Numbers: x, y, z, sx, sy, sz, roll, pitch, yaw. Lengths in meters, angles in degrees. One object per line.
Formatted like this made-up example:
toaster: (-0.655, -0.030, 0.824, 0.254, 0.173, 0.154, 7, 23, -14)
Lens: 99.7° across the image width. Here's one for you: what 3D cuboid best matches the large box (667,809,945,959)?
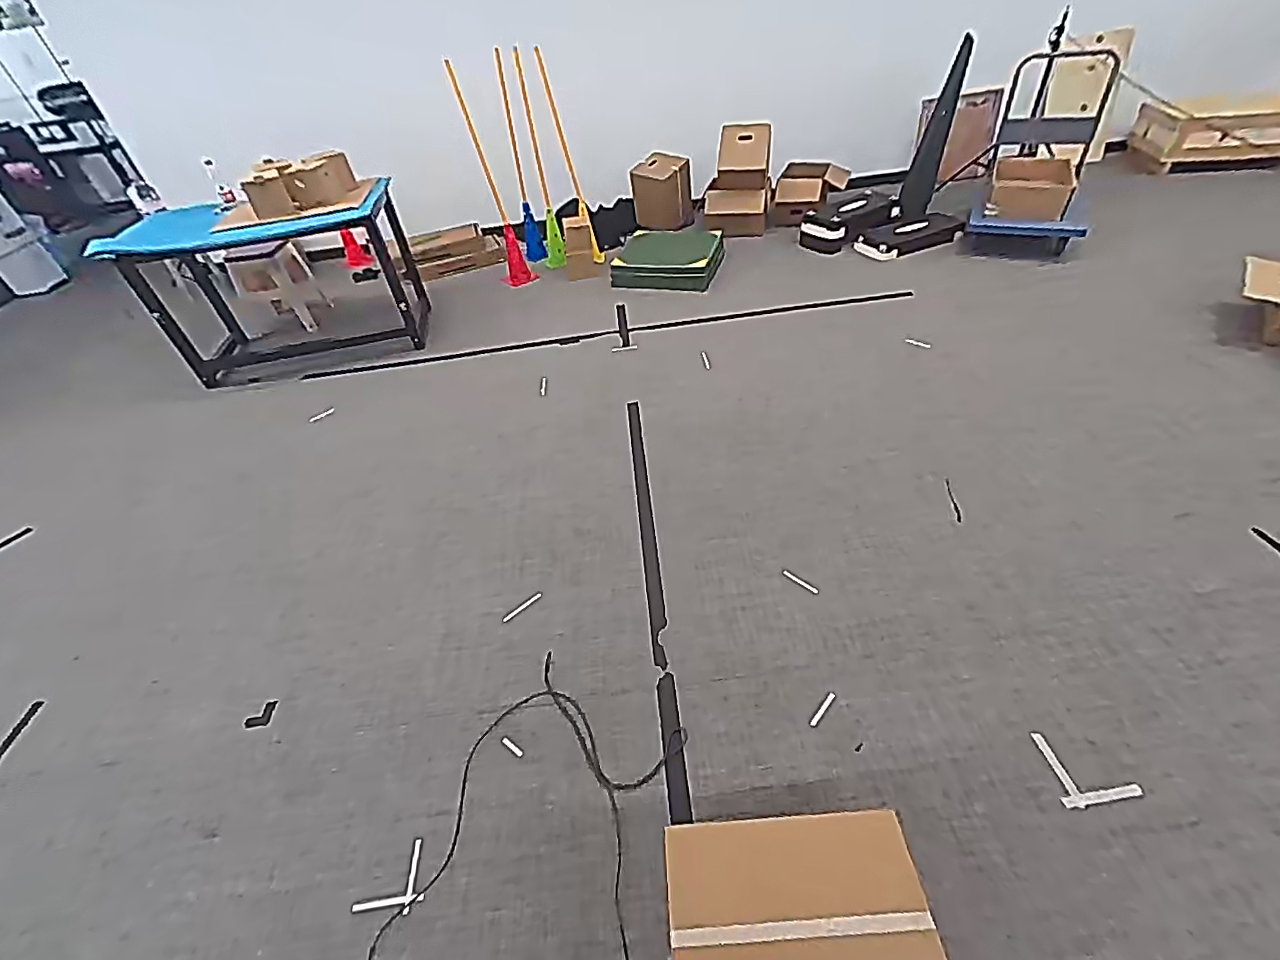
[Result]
large box: (0.265, 0.809, 0.935, 0.408, 0.320, 0.320, -6, 42, 2)
